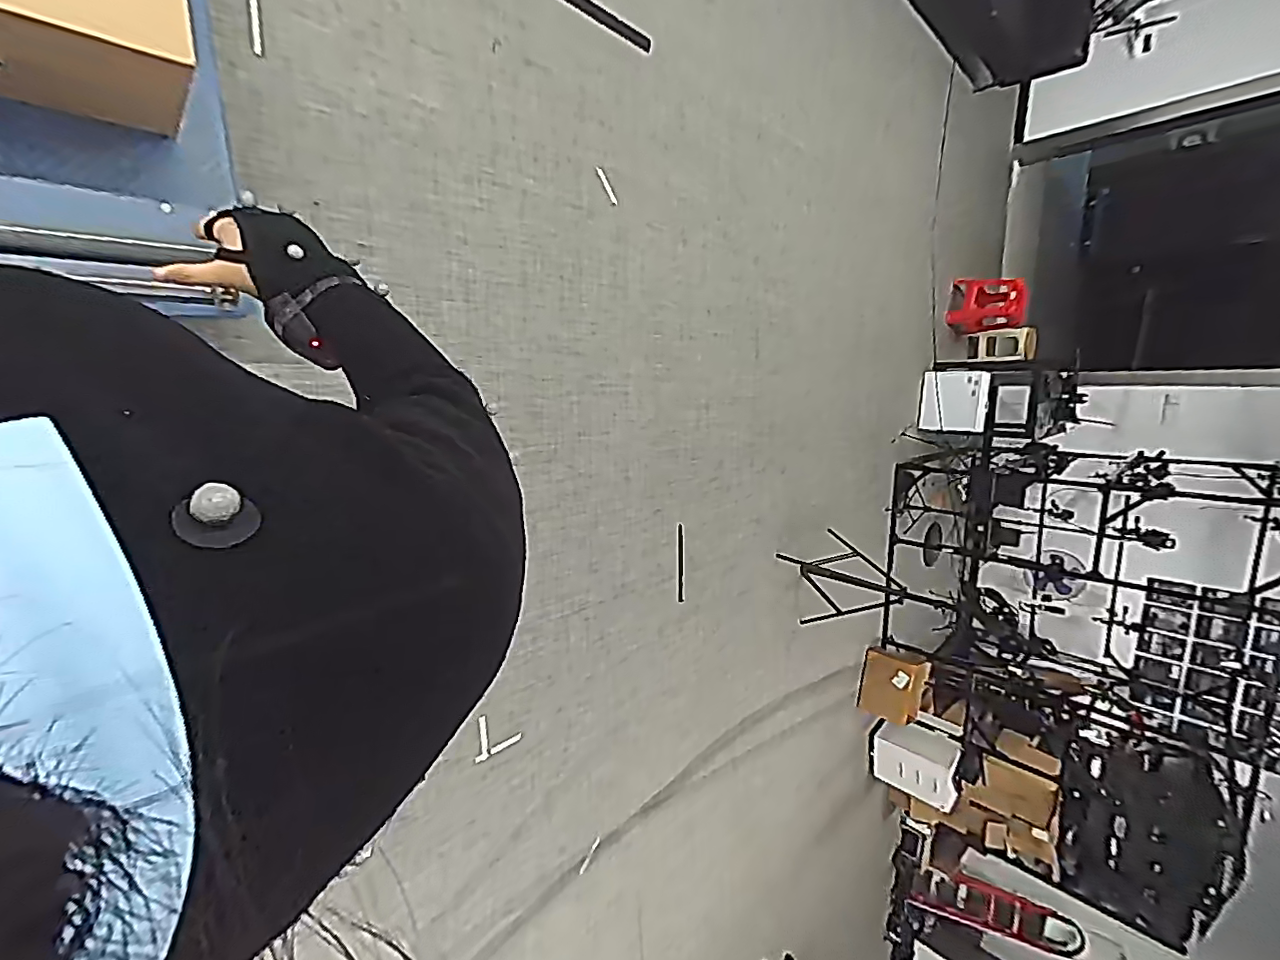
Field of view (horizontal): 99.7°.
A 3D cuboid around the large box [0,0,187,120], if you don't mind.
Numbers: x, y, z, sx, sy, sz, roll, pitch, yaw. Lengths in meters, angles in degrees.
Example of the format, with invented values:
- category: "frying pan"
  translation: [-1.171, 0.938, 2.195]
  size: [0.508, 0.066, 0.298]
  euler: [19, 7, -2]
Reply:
- category: "large box"
  translation: [-0.889, -0.741, 0.709]
  size: [0.408, 0.320, 0.320]
  euler: [-11, 104, -43]
